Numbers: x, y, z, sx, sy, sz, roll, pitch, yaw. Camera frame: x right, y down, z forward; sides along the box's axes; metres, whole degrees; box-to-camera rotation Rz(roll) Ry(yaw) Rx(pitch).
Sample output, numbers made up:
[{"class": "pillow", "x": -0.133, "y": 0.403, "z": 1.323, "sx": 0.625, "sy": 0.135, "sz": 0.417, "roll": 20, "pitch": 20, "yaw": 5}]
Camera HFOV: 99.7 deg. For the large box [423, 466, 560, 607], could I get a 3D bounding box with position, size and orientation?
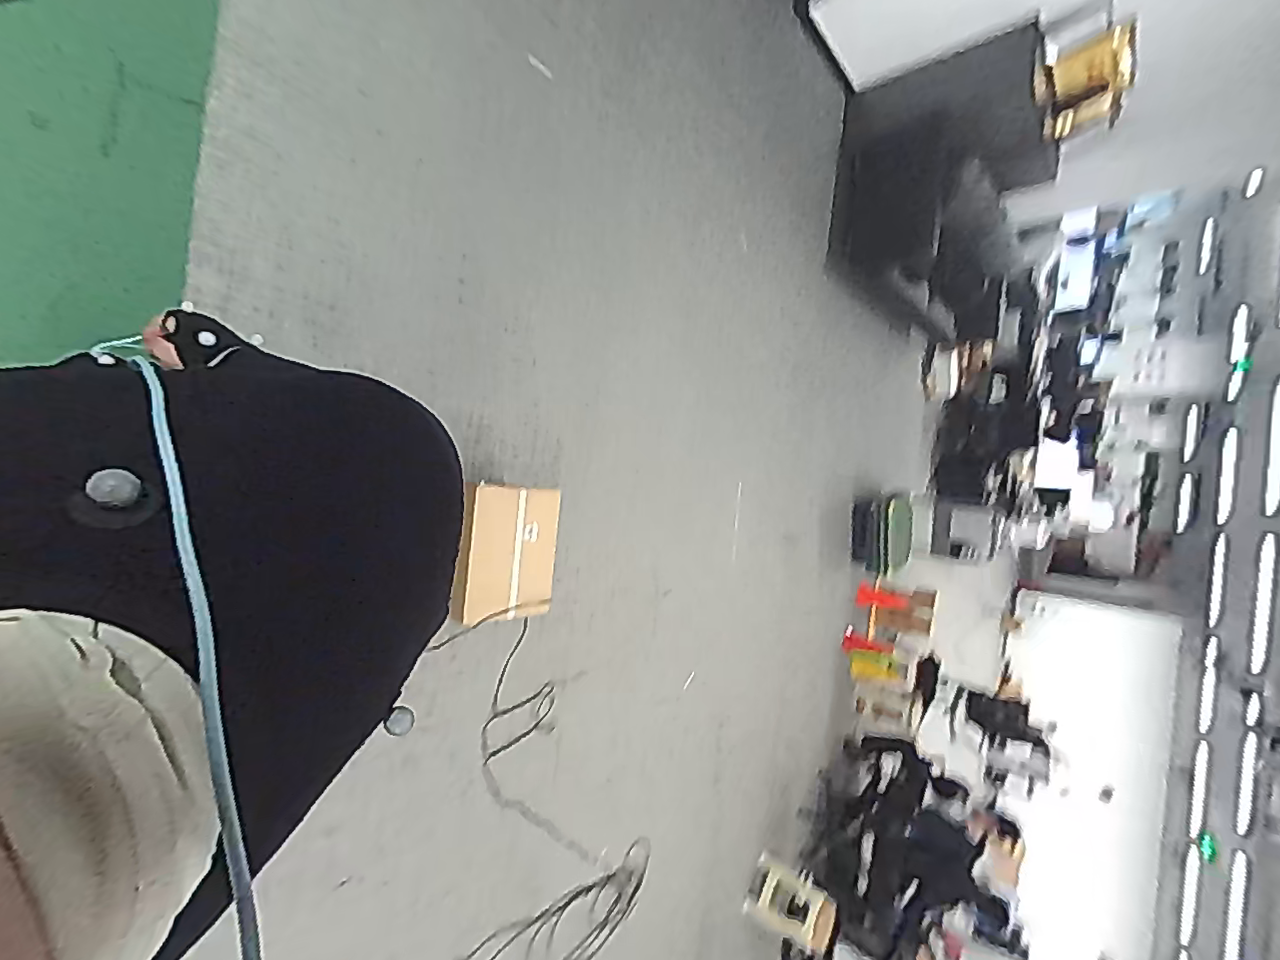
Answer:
[{"class": "large box", "x": -0.483, "y": 0.167, "z": 1.751, "sx": 0.320, "sy": 0.320, "sz": 0.408, "roll": 4, "pitch": 90, "yaw": -48}]
